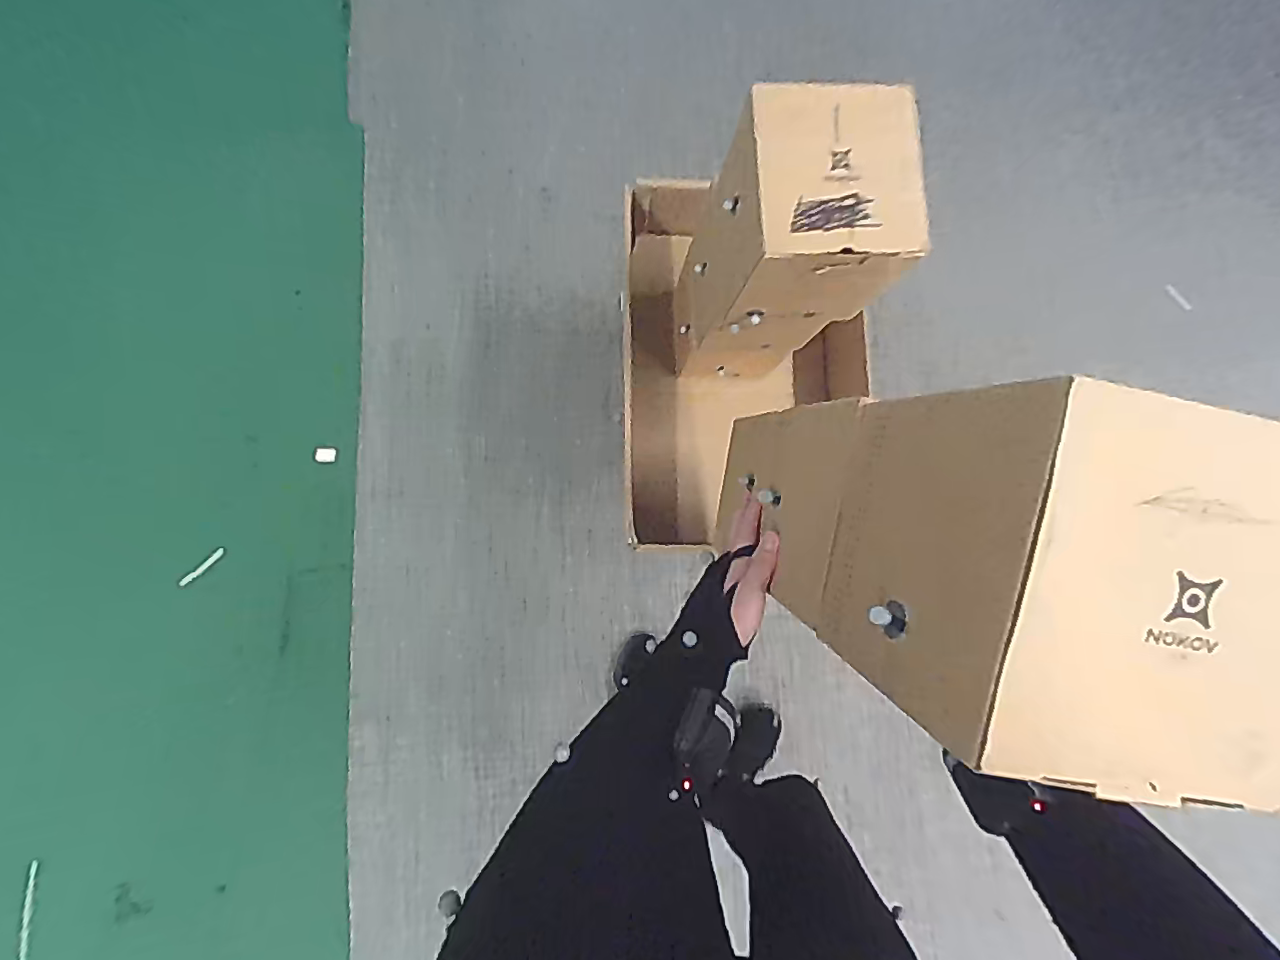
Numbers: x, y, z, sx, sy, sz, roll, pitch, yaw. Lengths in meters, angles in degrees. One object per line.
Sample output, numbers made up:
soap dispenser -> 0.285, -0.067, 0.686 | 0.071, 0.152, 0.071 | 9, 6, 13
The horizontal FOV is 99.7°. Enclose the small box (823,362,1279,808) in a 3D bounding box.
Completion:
small box -> 0.226, 0.044, 0.313 | 0.168, 0.176, 0.179 | 10, 94, -6

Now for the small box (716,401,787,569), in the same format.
small box -> 0.196, 0.012, 0.637 | 0.168, 0.176, 0.179 | 9, 94, -5

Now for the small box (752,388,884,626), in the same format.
small box -> 0.208, 0.025, 0.475 | 0.168, 0.176, 0.179 | 9, 94, -6

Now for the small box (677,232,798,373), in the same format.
small box -> 0.156, -0.291, 0.914 | 0.168, 0.176, 0.179 | -1, 86, -4

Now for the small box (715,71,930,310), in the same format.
small box -> 0.181, -0.294, 0.586 | 0.168, 0.176, 0.179 | -3, 85, -5
